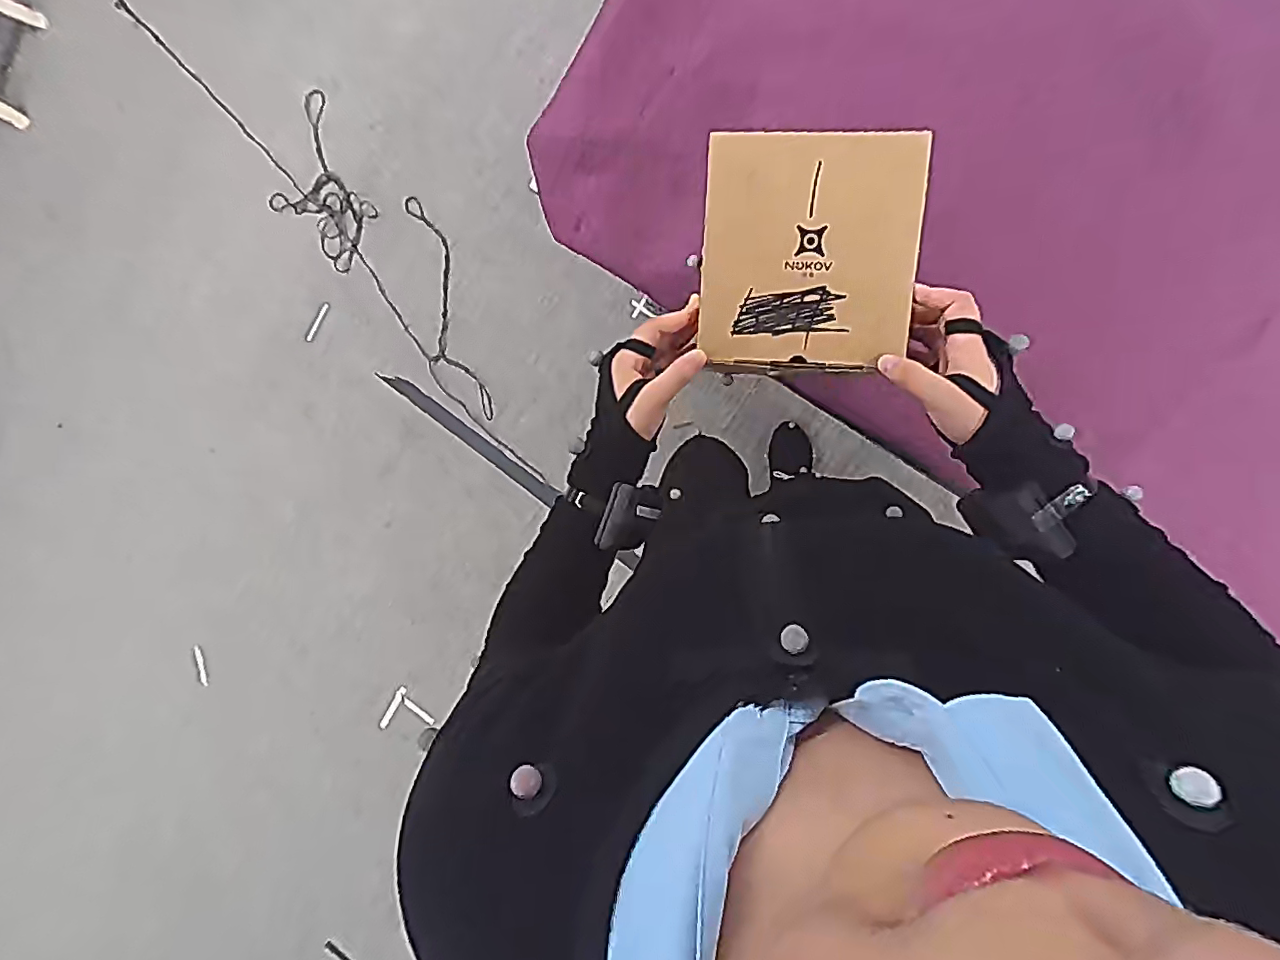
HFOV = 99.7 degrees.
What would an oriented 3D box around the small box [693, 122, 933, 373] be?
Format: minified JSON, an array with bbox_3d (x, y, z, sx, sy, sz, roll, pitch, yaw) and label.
[{"bbox_3d":[0.140,-0.194,0.498,0.168,0.176,0.179,4,98,6],"label":"small box"}]

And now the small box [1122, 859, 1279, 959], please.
[{"bbox_3d":[1.252,1.020,1.219,0.168,0.176,0.179,29,102,8],"label":"small box"}]
